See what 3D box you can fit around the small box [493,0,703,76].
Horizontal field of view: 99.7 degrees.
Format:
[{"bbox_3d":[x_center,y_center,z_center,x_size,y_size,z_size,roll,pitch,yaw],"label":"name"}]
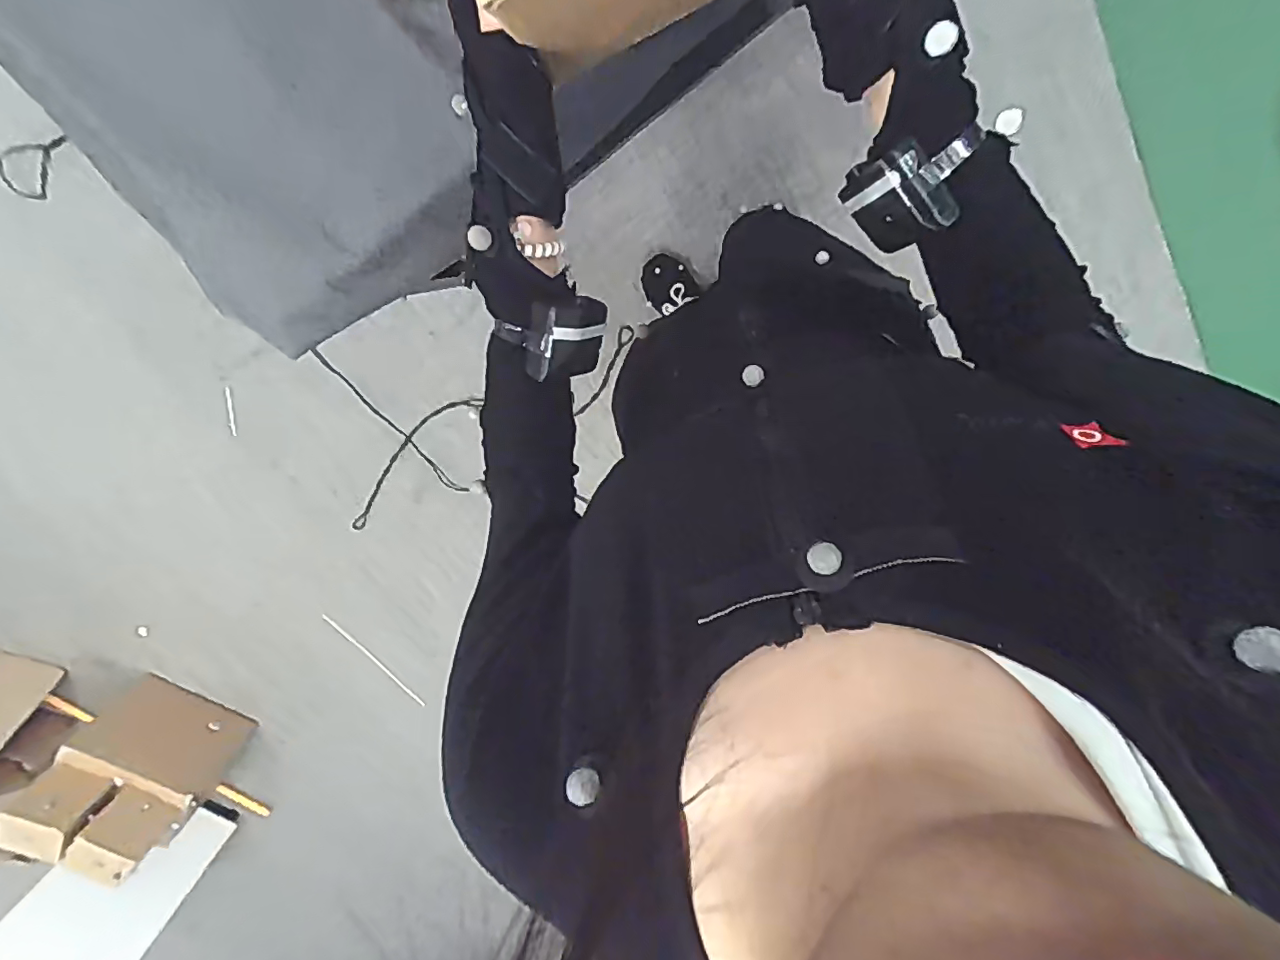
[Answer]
[{"bbox_3d":[-0.026,-0.357,0.283,0.179,0.176,0.168,-20,112,12],"label":"small box"}]
